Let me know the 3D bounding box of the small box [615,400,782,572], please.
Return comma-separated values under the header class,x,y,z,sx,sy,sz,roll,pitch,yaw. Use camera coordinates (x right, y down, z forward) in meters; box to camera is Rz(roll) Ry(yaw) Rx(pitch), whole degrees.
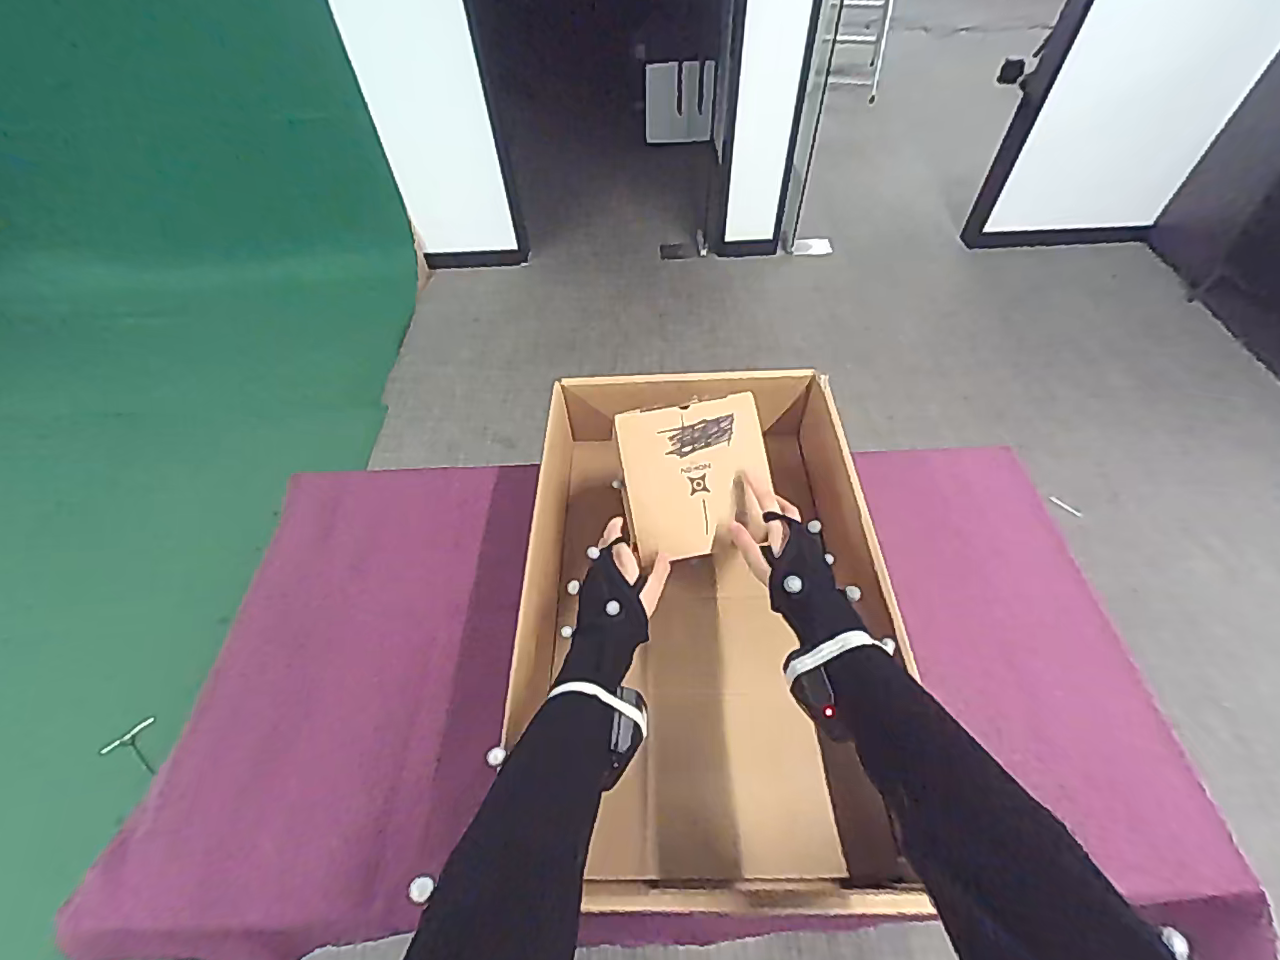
class,x,y,z,sx,sy,sz,roll,pitch,yaw
small box,0.061,0.013,0.690,0.168,0.176,0.179,-10,86,-4
